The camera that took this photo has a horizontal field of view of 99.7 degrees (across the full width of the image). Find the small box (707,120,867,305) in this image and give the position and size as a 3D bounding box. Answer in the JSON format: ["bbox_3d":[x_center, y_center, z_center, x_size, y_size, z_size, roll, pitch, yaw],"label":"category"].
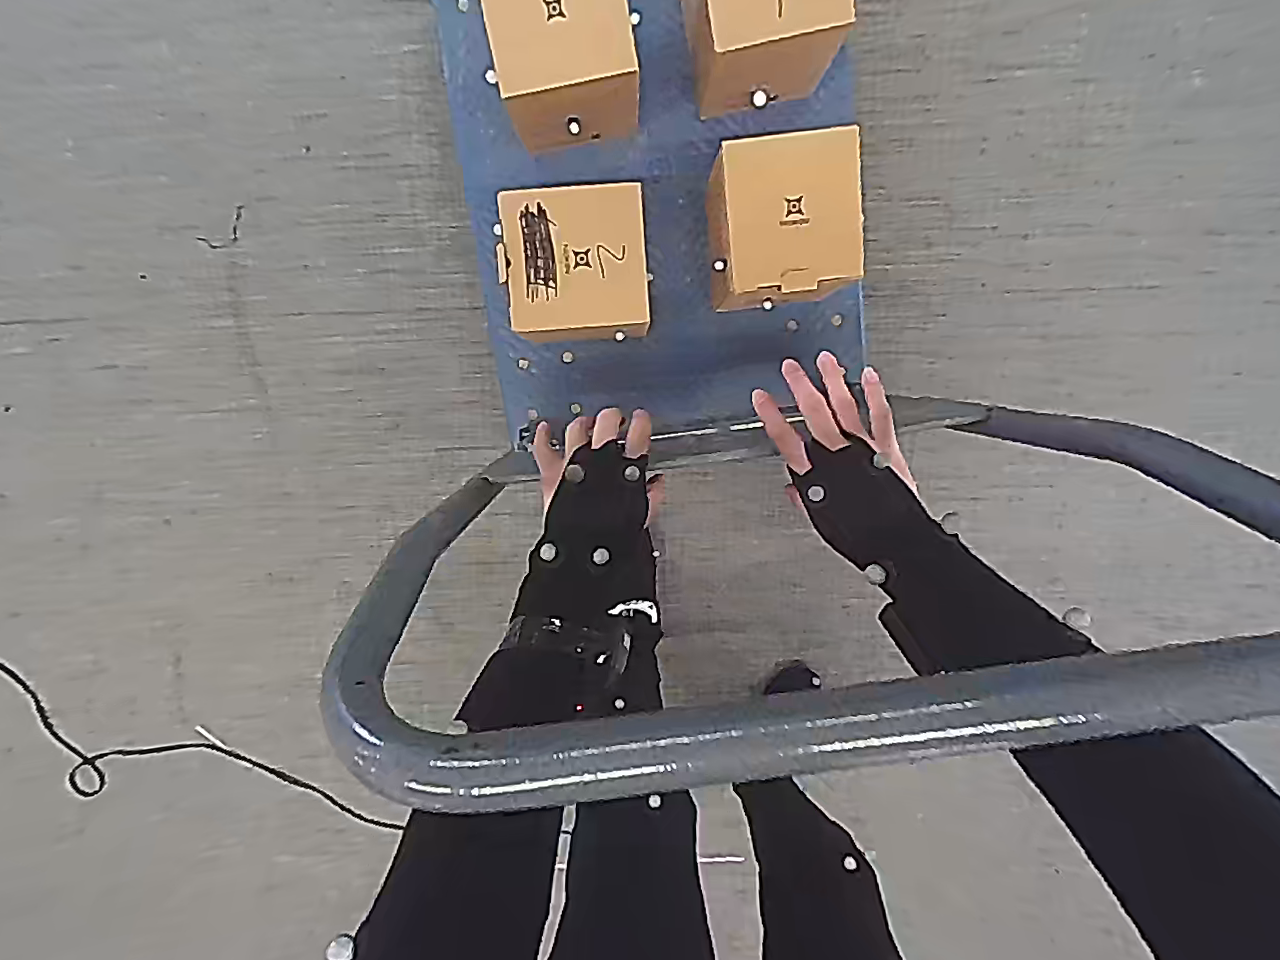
[{"bbox_3d":[0.188,-0.345,0.728,0.168,0.176,0.179,-6,101,1],"label":"small box"}]

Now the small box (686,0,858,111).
[{"bbox_3d":[0.152,-0.608,0.677,0.168,0.176,0.179,-11,101,3],"label":"small box"}]

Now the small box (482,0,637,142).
[{"bbox_3d":[-0.096,-0.559,0.686,0.168,0.176,0.179,-11,100,1],"label":"small box"}]
